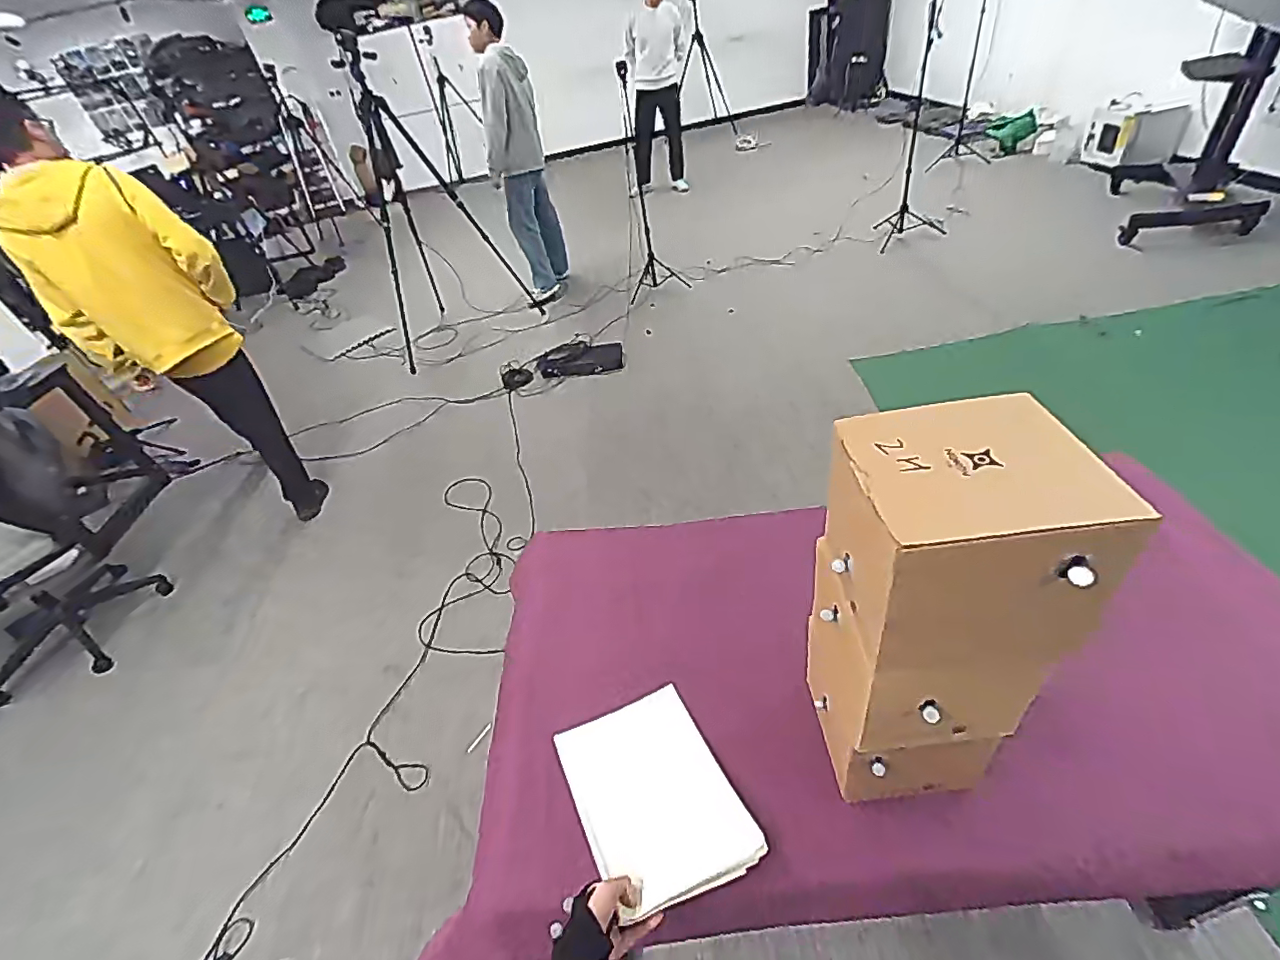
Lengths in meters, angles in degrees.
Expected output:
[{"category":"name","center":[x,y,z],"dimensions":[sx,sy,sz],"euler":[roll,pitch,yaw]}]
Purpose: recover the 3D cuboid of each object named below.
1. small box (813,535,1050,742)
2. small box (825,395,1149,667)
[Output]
[{"category":"small box","center":[0.296,0.169,0.596],"dimensions":[0.168,0.176,0.179],"euler":[-9,39,5]},{"category":"small box","center":[0.276,0.047,0.486],"dimensions":[0.179,0.176,0.168],"euler":[-8,39,7]}]
